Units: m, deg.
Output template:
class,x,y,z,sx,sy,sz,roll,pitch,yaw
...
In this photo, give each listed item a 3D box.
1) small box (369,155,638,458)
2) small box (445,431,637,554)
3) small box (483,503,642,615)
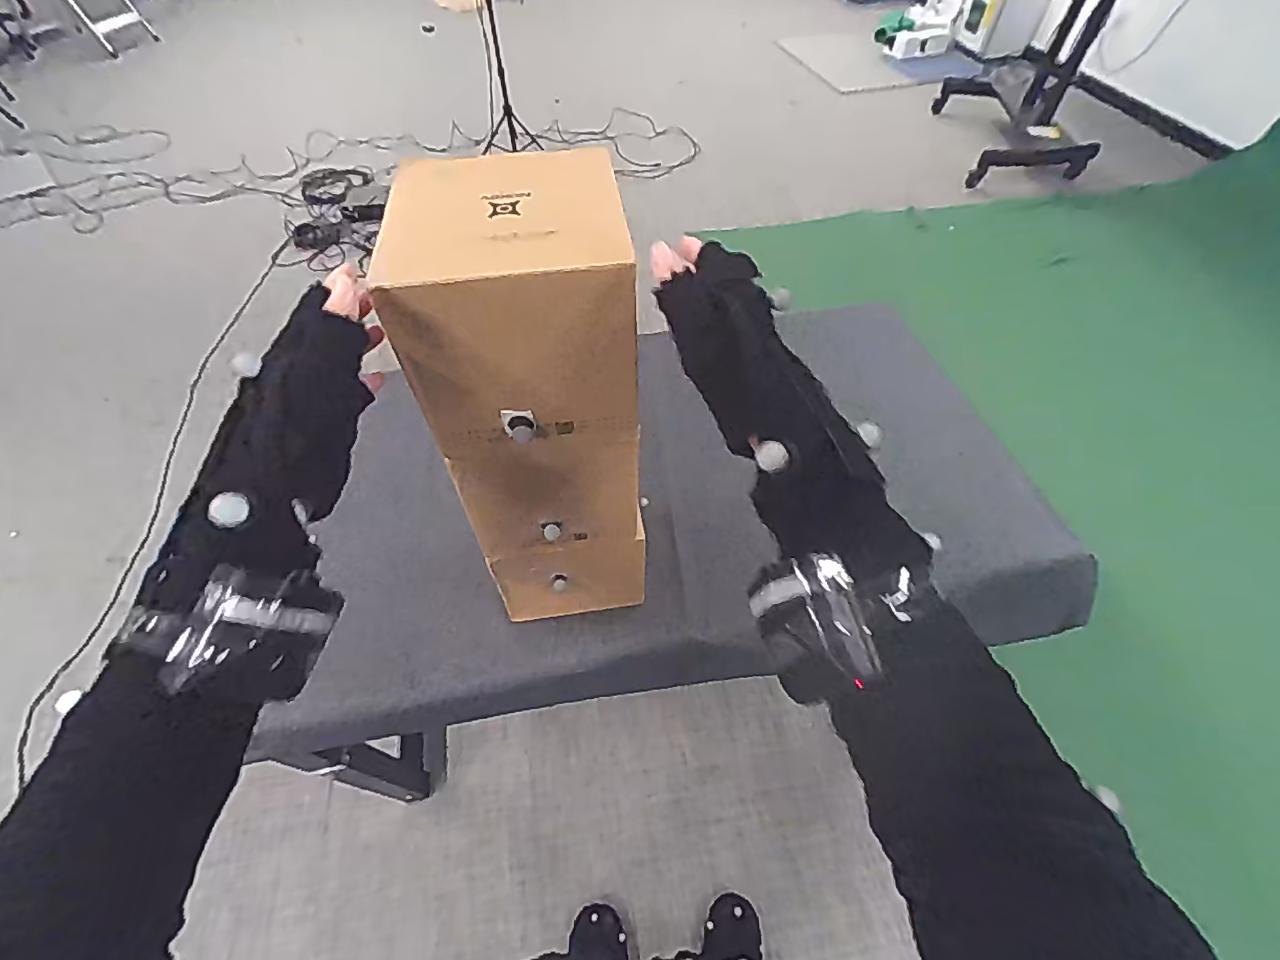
class,x,y,z,sx,sy,sz,roll,pitch,yaw
small box,-0.093,-0.140,0.444,0.168,0.176,0.179,-6,53,-4
small box,-0.096,-0.043,0.575,0.168,0.176,0.179,-6,53,-5
small box,-0.094,0.062,0.702,0.179,0.176,0.168,-7,53,-5
